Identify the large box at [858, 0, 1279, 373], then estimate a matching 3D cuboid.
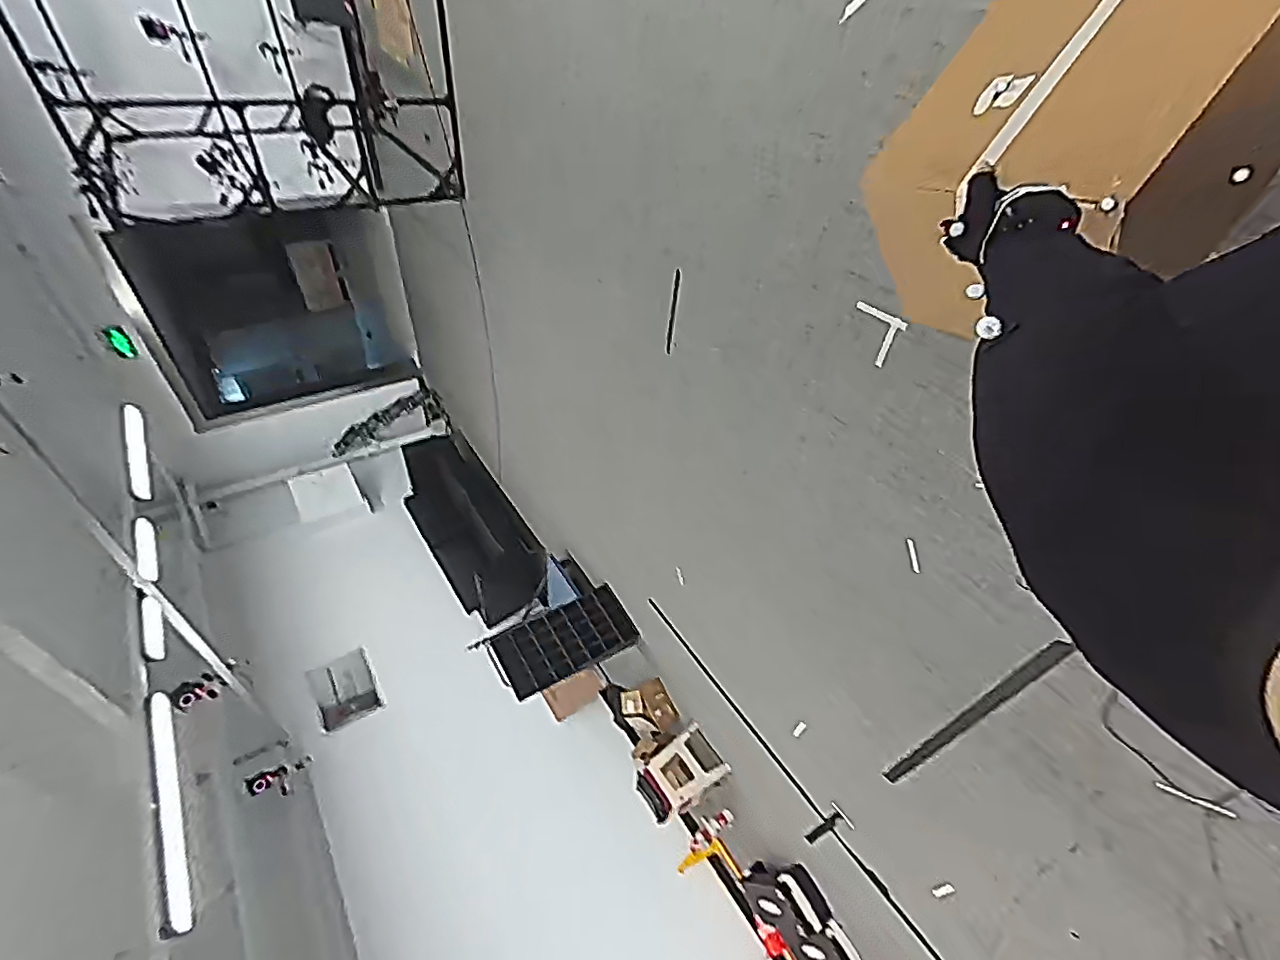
[{"bbox_3d":[0.589,-0.431,0.749,0.320,0.408,0.320,34,-176,-45],"label":"large box"}]
